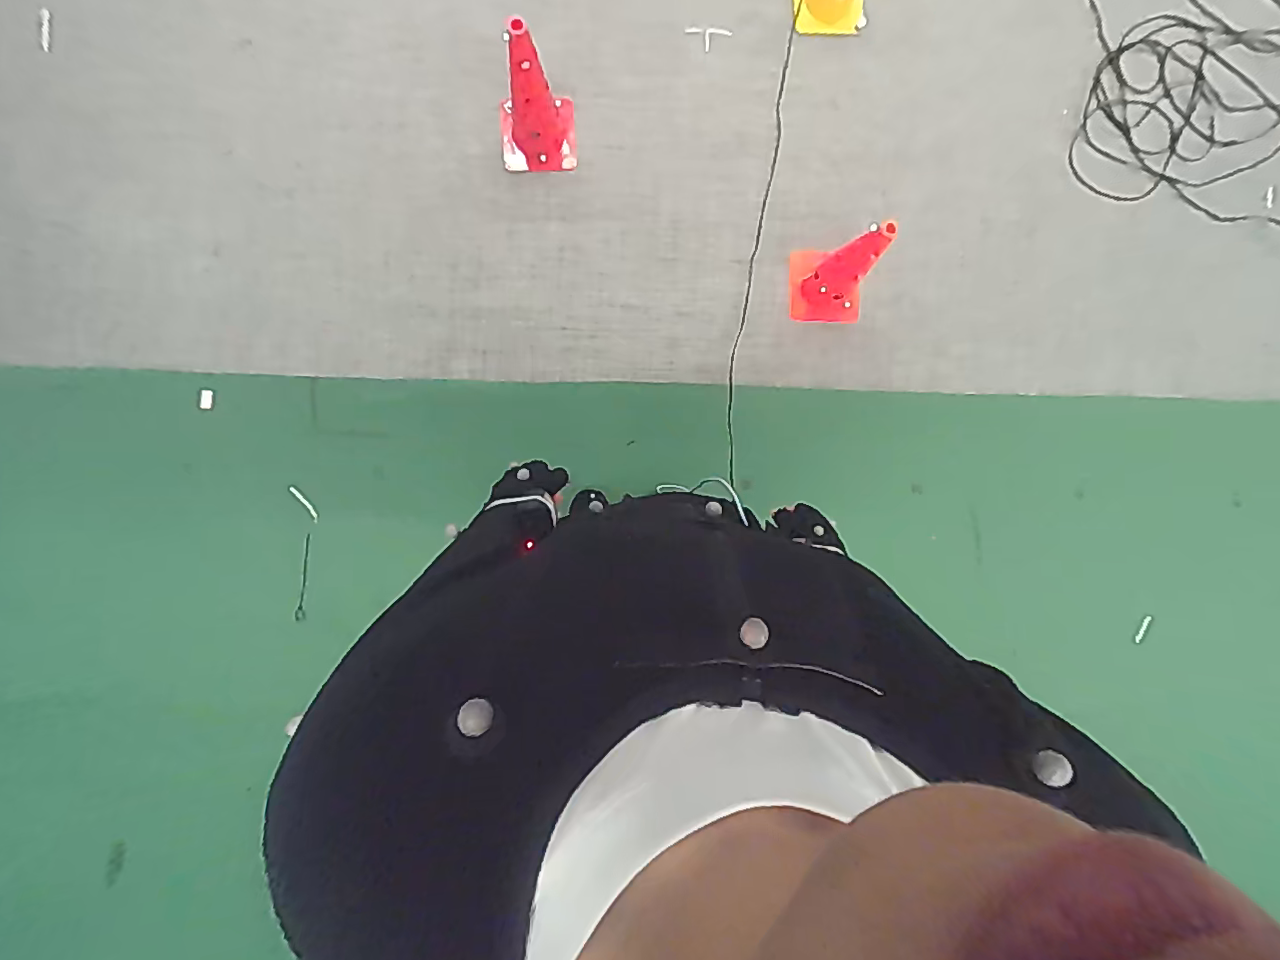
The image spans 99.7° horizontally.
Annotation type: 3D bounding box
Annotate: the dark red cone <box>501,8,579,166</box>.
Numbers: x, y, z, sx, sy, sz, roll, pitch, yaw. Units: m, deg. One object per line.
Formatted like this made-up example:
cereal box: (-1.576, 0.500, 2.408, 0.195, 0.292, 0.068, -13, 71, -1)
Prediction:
dark red cone: (-0.258, -0.942, 1.288, 0.202, 0.394, 0.201, -5, 91, -3)

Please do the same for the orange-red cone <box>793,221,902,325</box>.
orange-red cone: (0.539, -0.544, 1.350, 0.198, 0.360, 0.199, 1, 88, -4)
